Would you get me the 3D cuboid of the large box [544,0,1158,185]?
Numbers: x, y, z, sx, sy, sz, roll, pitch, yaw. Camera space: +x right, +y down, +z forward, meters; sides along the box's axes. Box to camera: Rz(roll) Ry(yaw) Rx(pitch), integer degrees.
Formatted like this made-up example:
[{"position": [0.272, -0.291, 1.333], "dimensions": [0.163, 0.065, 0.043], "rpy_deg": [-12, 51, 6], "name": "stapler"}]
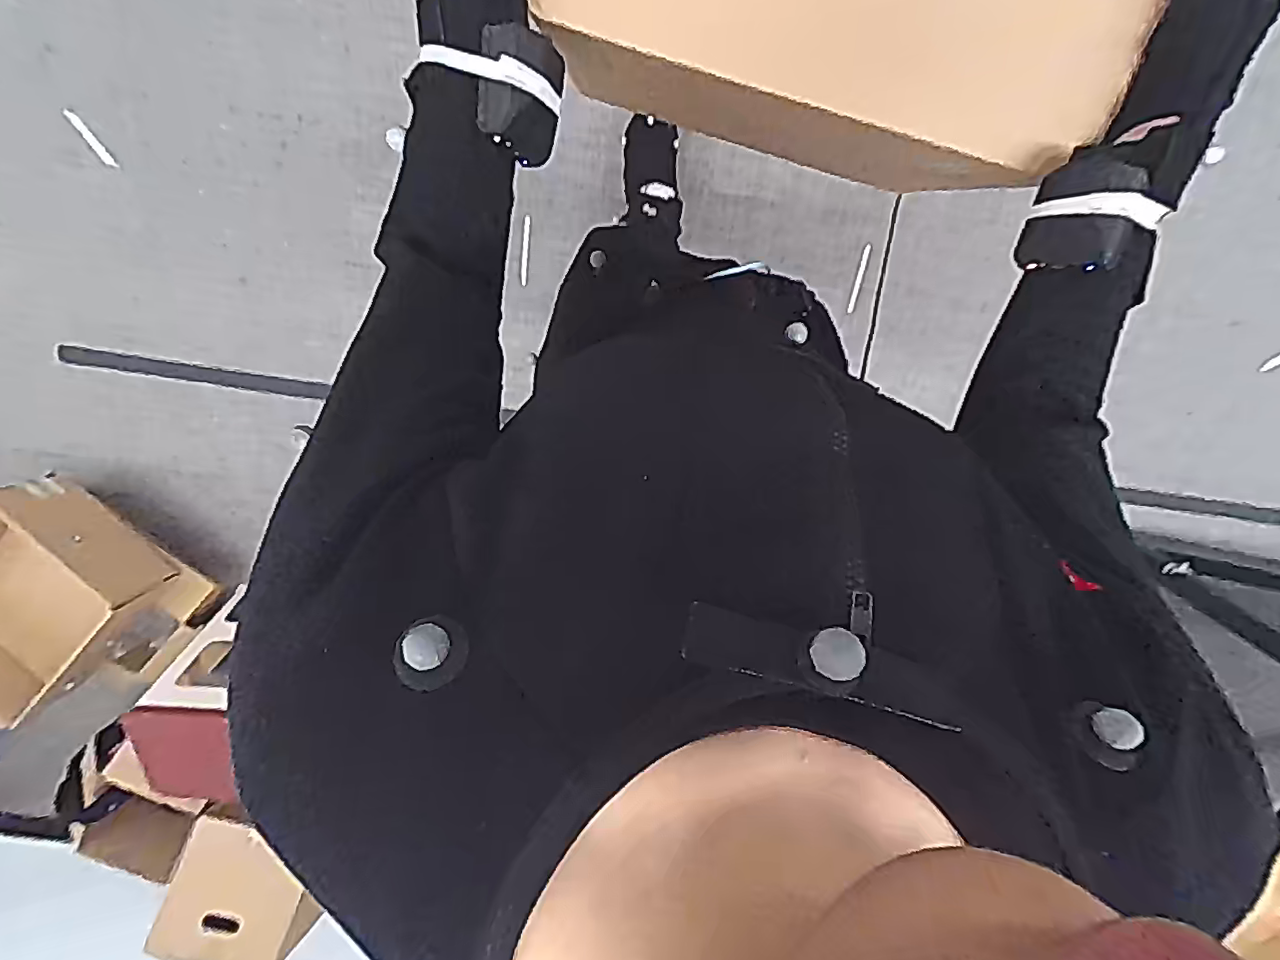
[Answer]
[{"position": [0.158, -0.465, 0.447], "dimensions": [0.408, 0.320, 0.320], "rpy_deg": [12, 118, -7], "name": "large box"}]
